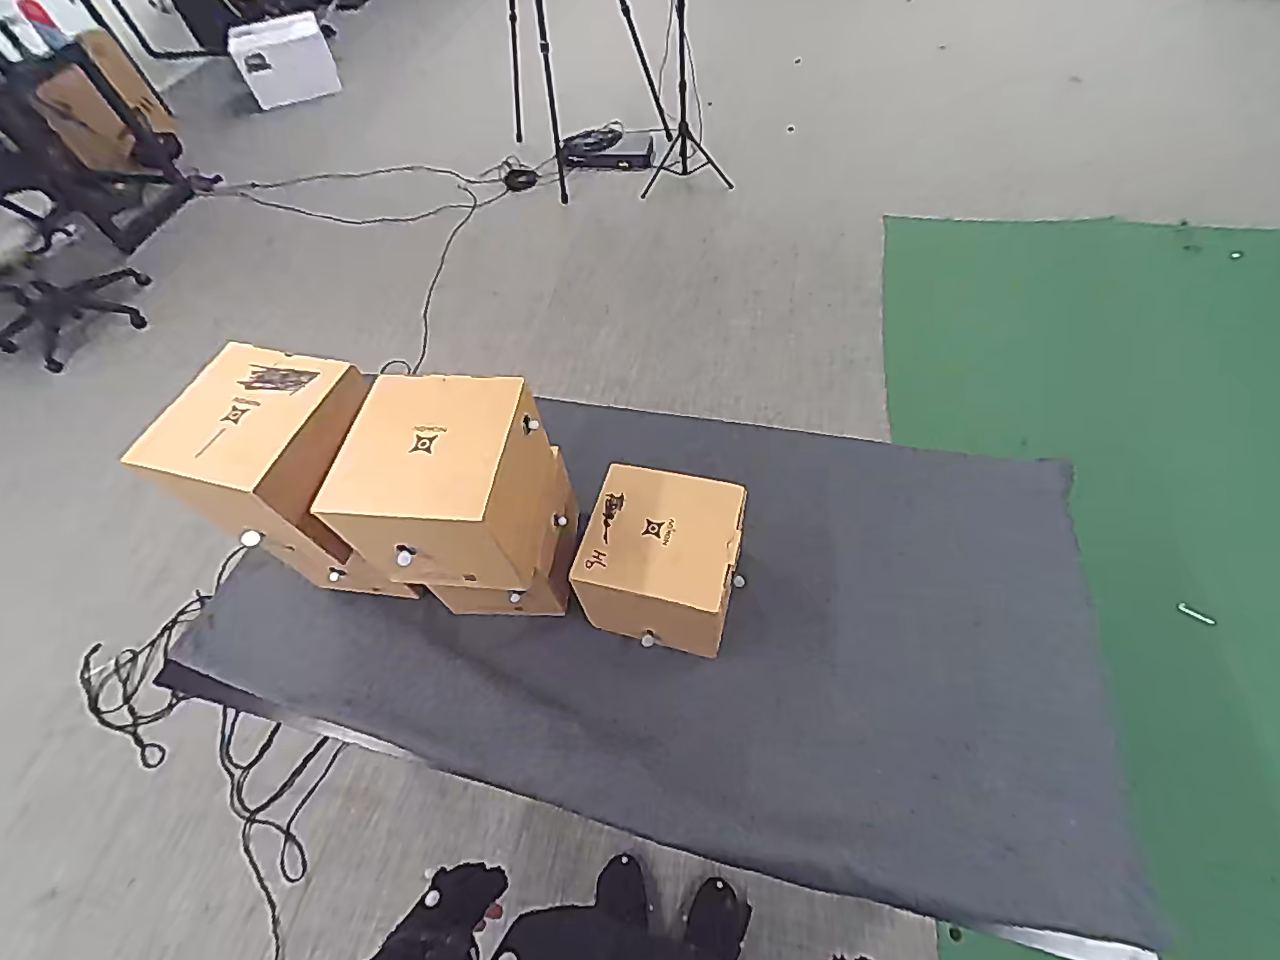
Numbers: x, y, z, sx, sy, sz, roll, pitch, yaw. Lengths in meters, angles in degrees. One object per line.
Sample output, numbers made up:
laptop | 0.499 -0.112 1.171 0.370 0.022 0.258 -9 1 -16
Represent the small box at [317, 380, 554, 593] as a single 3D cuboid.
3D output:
small box | -0.200 0.012 0.593 0.168 0.176 0.179 2 55 6
